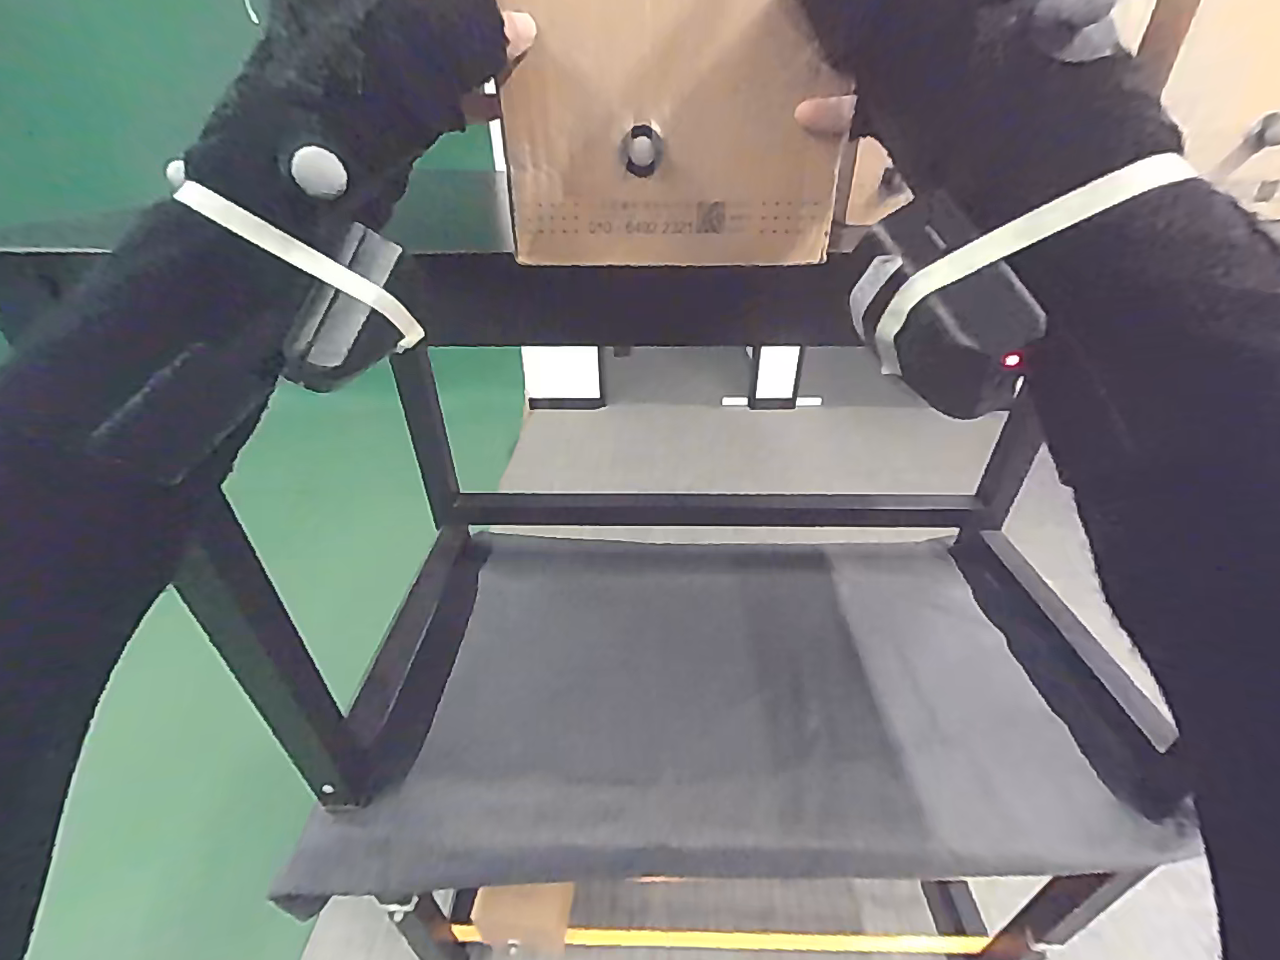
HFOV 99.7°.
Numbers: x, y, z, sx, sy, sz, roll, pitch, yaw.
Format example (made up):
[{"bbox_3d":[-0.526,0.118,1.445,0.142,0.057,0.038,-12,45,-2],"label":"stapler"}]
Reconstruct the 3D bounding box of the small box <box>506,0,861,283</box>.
[{"bbox_3d":[0.019,-0.229,0.331,0.168,0.176,0.179,0,34,2],"label":"small box"}]
